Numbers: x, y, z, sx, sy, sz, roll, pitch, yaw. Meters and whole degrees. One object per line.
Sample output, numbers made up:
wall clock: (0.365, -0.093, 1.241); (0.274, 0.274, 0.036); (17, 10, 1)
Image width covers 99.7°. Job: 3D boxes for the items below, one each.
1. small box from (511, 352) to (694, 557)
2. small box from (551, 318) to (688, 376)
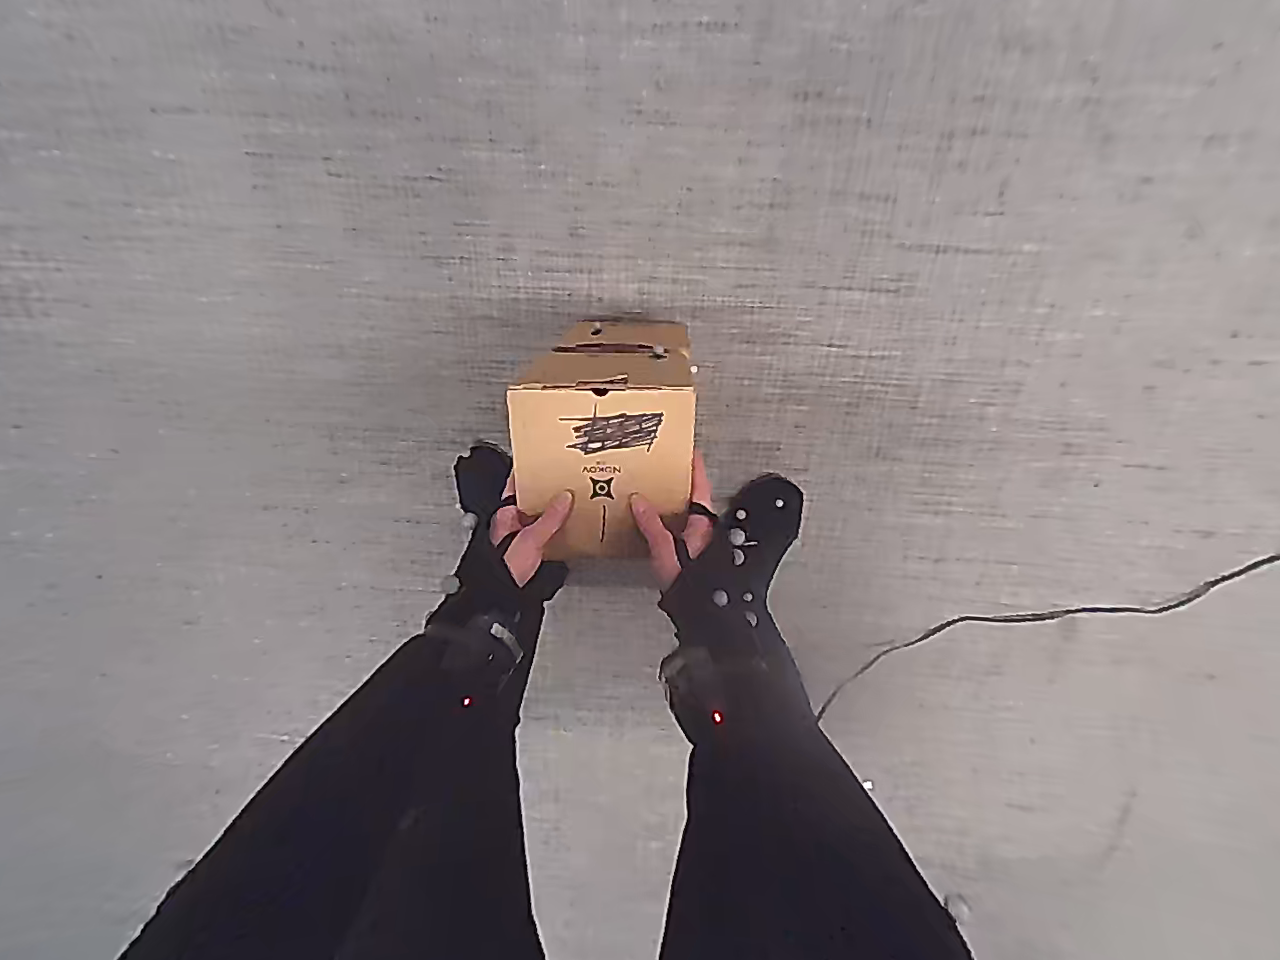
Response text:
small box: (-0.034, -0.036, 0.584); (0.168, 0.176, 0.179); (1, 116, 1)
small box: (-0.022, -0.120, 0.742); (0.168, 0.176, 0.179); (3, 118, 3)
